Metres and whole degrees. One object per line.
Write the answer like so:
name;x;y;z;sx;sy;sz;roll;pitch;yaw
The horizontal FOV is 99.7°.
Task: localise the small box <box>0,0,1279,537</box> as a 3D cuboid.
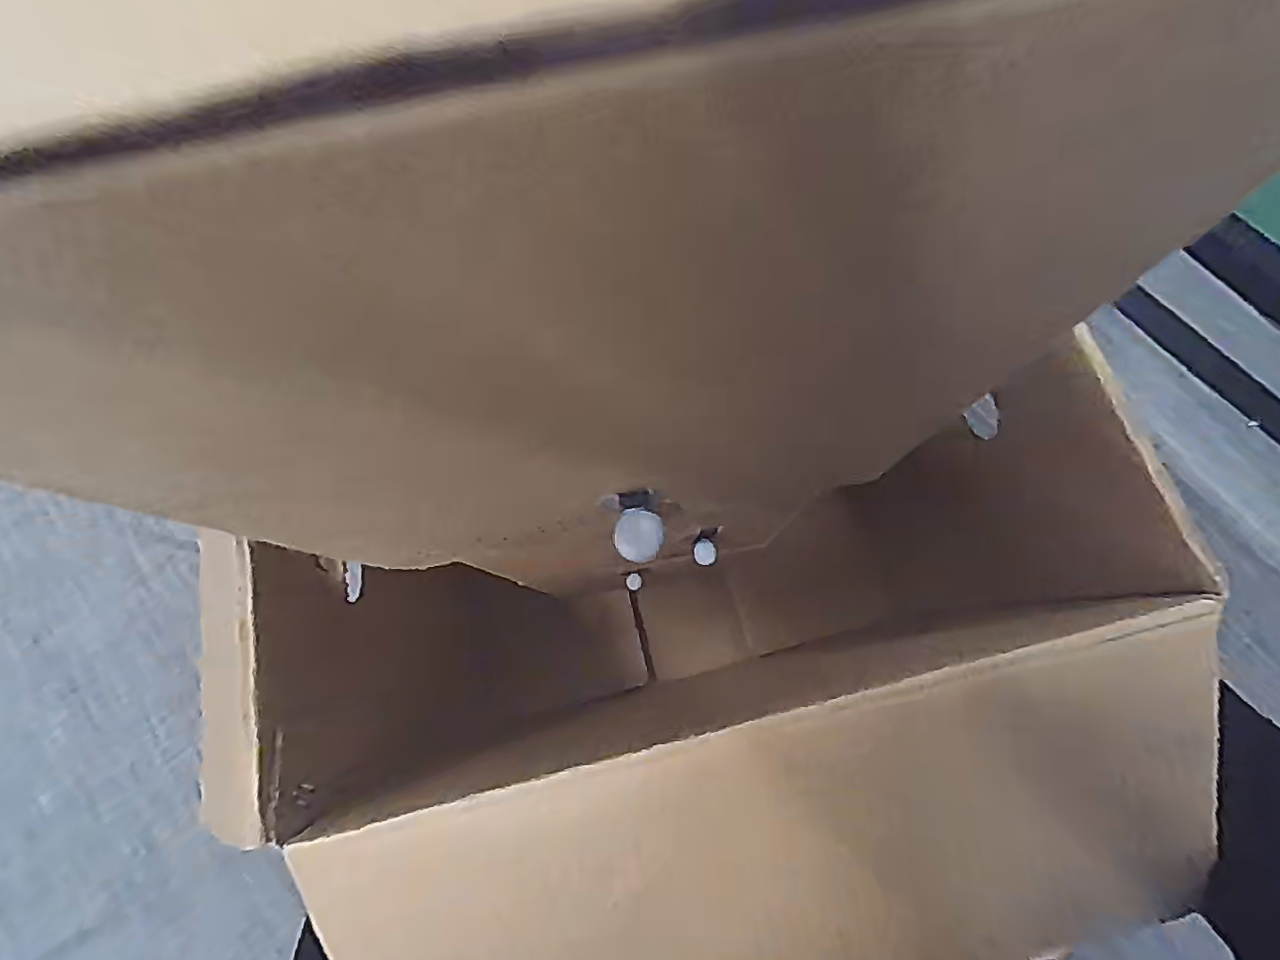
small box;-0.020;-0.090;0.134;0.179;0.176;0.168;-10;74;-1
